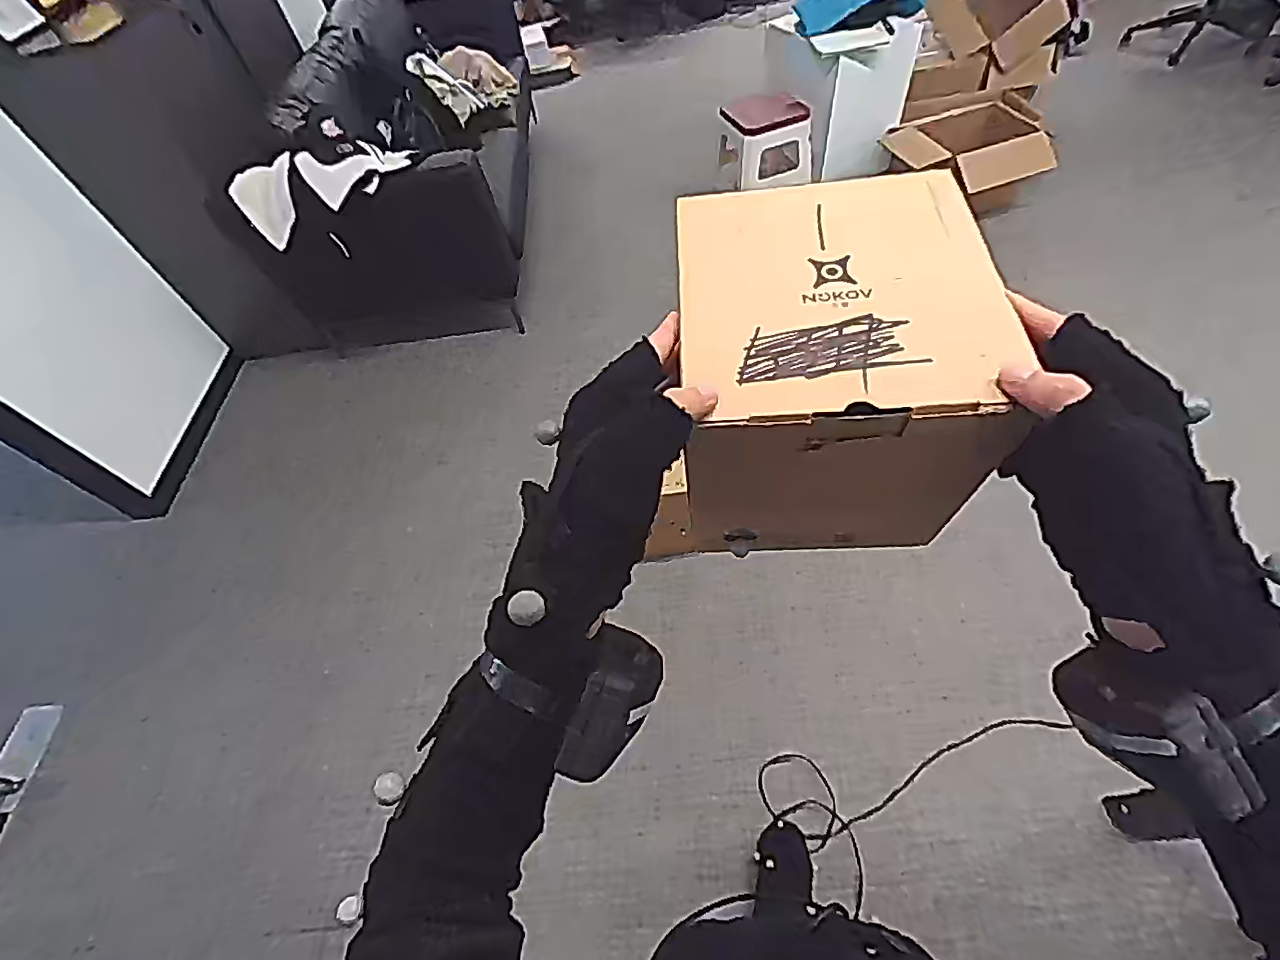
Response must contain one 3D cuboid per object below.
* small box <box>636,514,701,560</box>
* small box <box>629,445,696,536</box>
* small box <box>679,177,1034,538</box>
[{"bbox_3d":[0.082,0.125,1.603,0.179,0.176,0.168,-7,54,3],"label":"small box"},{"bbox_3d":[0.061,0.030,1.471,0.168,0.176,0.179,-7,53,4],"label":"small box"},{"bbox_3d":[0.115,-0.066,0.367,0.168,0.176,0.179,-3,59,7],"label":"small box"}]
